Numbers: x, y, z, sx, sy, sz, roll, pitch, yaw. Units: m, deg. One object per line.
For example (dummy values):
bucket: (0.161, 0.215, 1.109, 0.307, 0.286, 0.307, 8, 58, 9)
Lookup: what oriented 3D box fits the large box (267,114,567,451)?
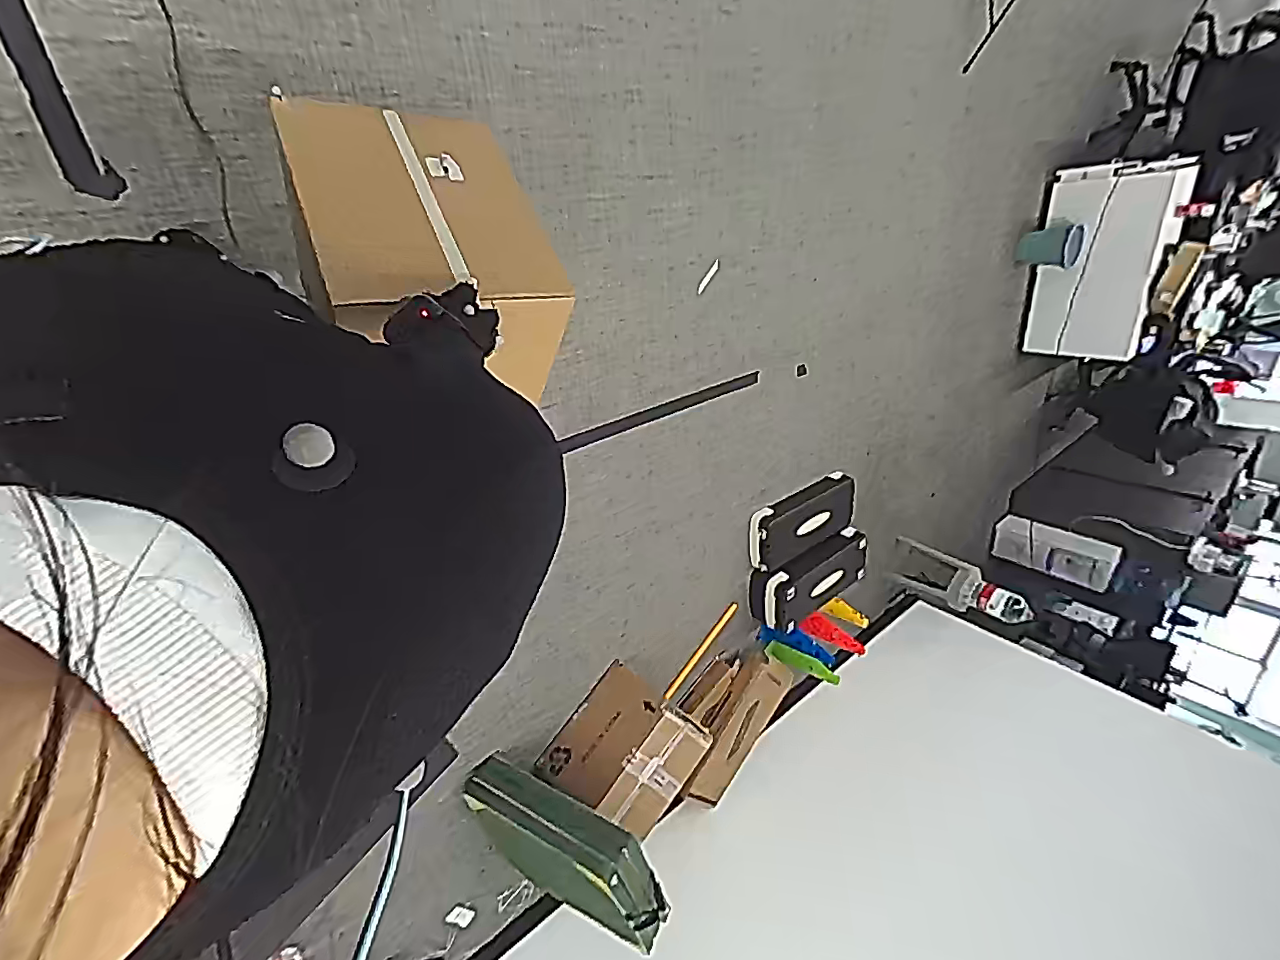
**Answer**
large box: (-0.369, -0.313, 0.894, 0.320, 0.408, 0.320, -14, 155, -33)
